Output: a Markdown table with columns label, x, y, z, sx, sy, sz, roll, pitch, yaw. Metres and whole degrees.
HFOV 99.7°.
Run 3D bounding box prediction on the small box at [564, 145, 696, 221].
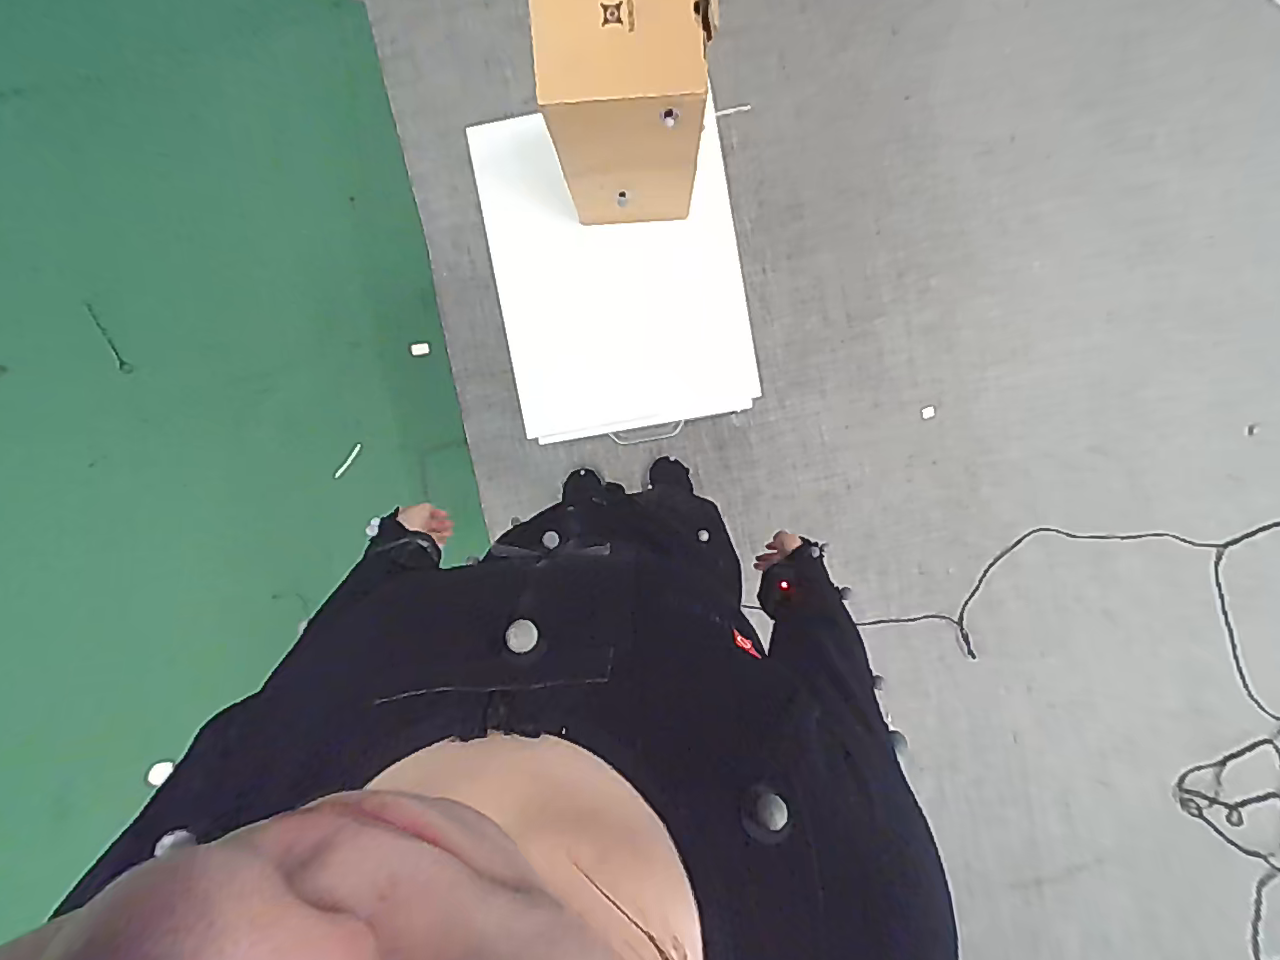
| label | x | y | z | sx | sy | sz | roll | pitch | yaw |
| --- | --- | --- | --- | --- | --- | --- | --- | --- | --- |
| small box | -0.014 | -0.490 | 0.780 | 0.179 | 0.176 | 0.168 | -3 | 95 | 1 |

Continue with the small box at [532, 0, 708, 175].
| label | x | y | z | sx | sy | sz | roll | pitch | yaw |
| --- | --- | --- | --- | --- | --- | --- | --- | --- | --- |
| small box | -0.020 | -0.473 | 0.618 | 0.179 | 0.176 | 0.168 | -3 | 95 | 0 |
